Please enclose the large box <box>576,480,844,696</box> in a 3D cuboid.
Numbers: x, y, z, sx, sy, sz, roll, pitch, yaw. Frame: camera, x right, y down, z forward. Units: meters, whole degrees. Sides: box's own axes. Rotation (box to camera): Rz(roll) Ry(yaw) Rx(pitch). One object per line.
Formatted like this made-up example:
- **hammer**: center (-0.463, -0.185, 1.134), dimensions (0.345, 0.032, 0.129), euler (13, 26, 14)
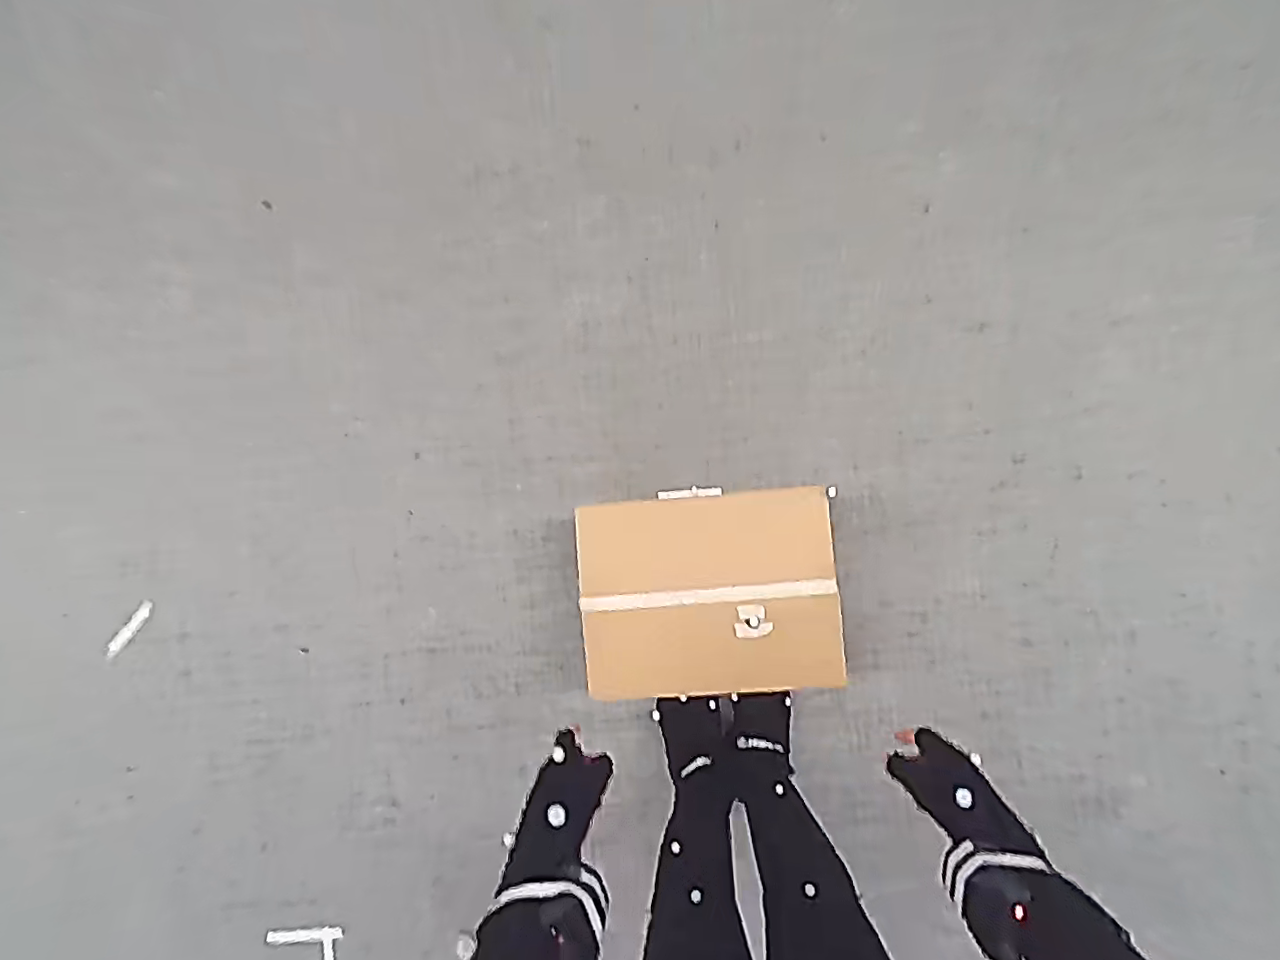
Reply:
- **large box**: center (0.113, 0.180, 1.003), dimensions (0.408, 0.320, 0.320), euler (-5, 88, 3)
